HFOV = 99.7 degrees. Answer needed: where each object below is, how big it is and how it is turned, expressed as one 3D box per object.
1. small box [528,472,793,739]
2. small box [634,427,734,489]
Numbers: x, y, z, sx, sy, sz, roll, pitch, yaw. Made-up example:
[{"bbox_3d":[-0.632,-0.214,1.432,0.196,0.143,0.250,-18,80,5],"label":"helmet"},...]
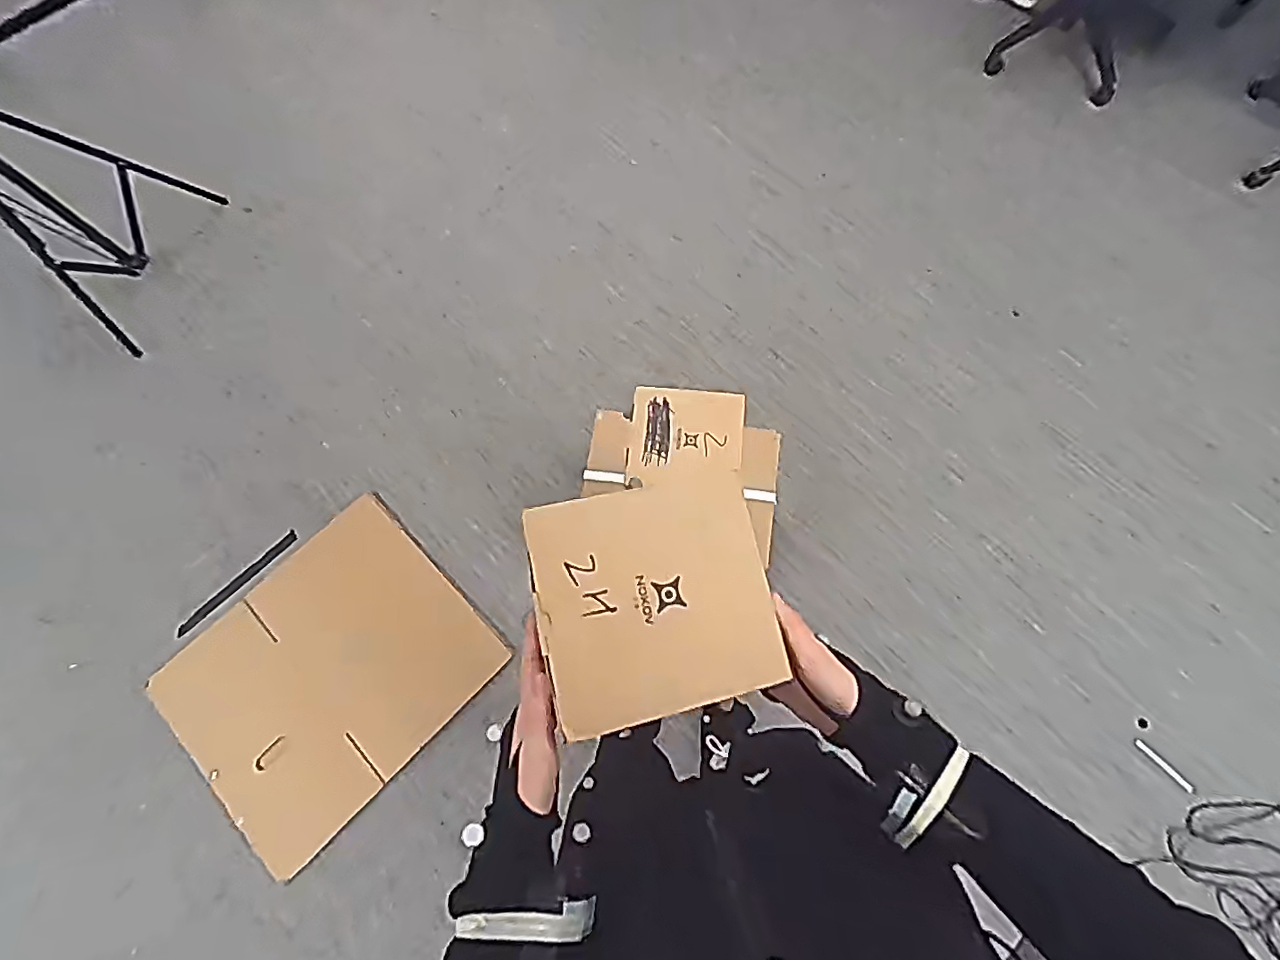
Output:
[{"bbox_3d":[0.001,0.101,0.474,0.179,0.176,0.168,-10,79,-12],"label":"small box"},{"bbox_3d":[0.082,0.009,1.055,0.179,0.176,0.168,5,74,2],"label":"small box"}]
